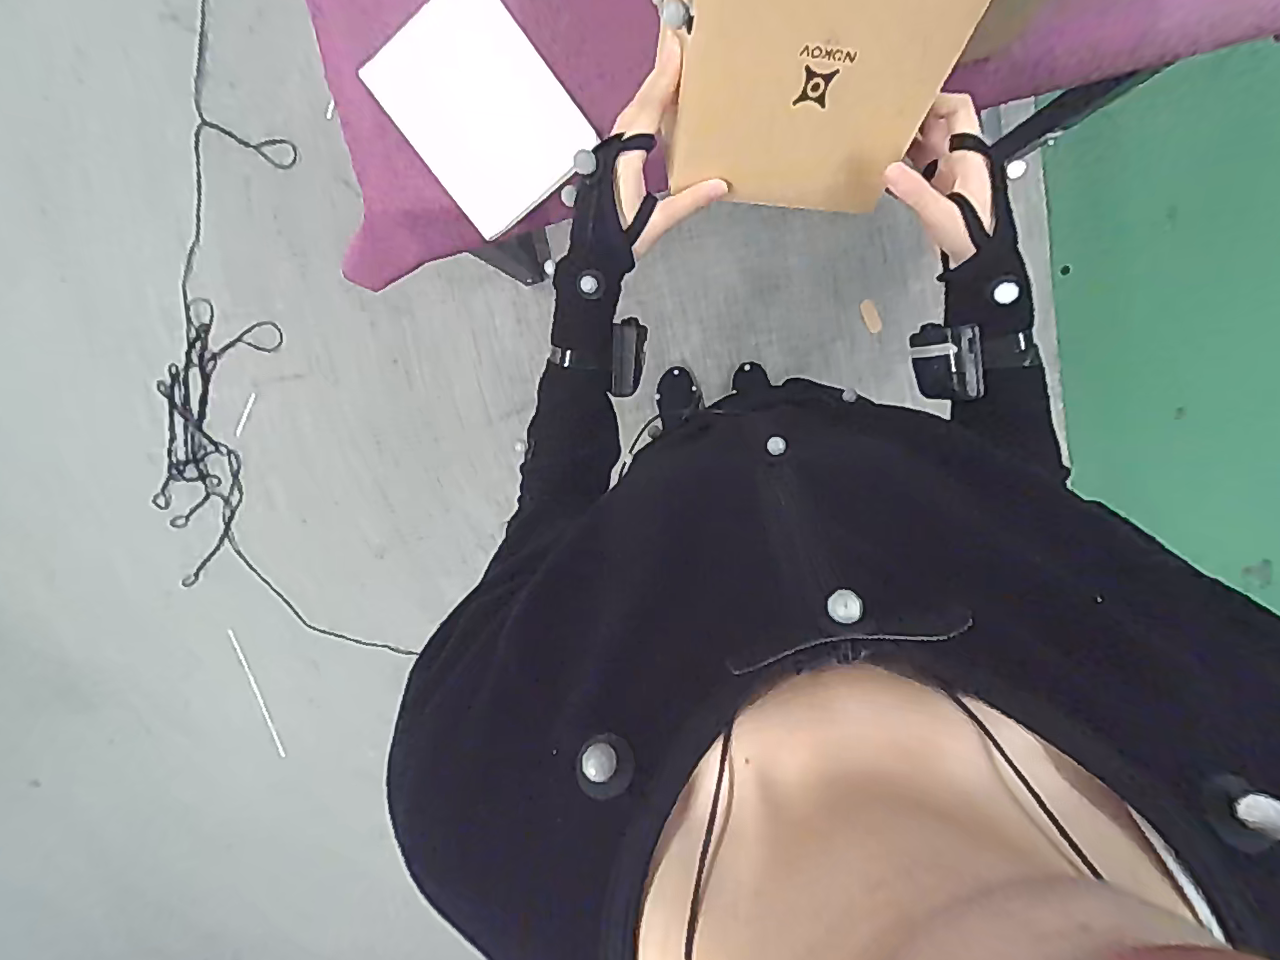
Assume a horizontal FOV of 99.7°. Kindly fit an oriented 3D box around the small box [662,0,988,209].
[{"bbox_3d":[0.110,-0.328,0.378,0.168,0.179,0.176,2,60,-8],"label":"small box"}]
